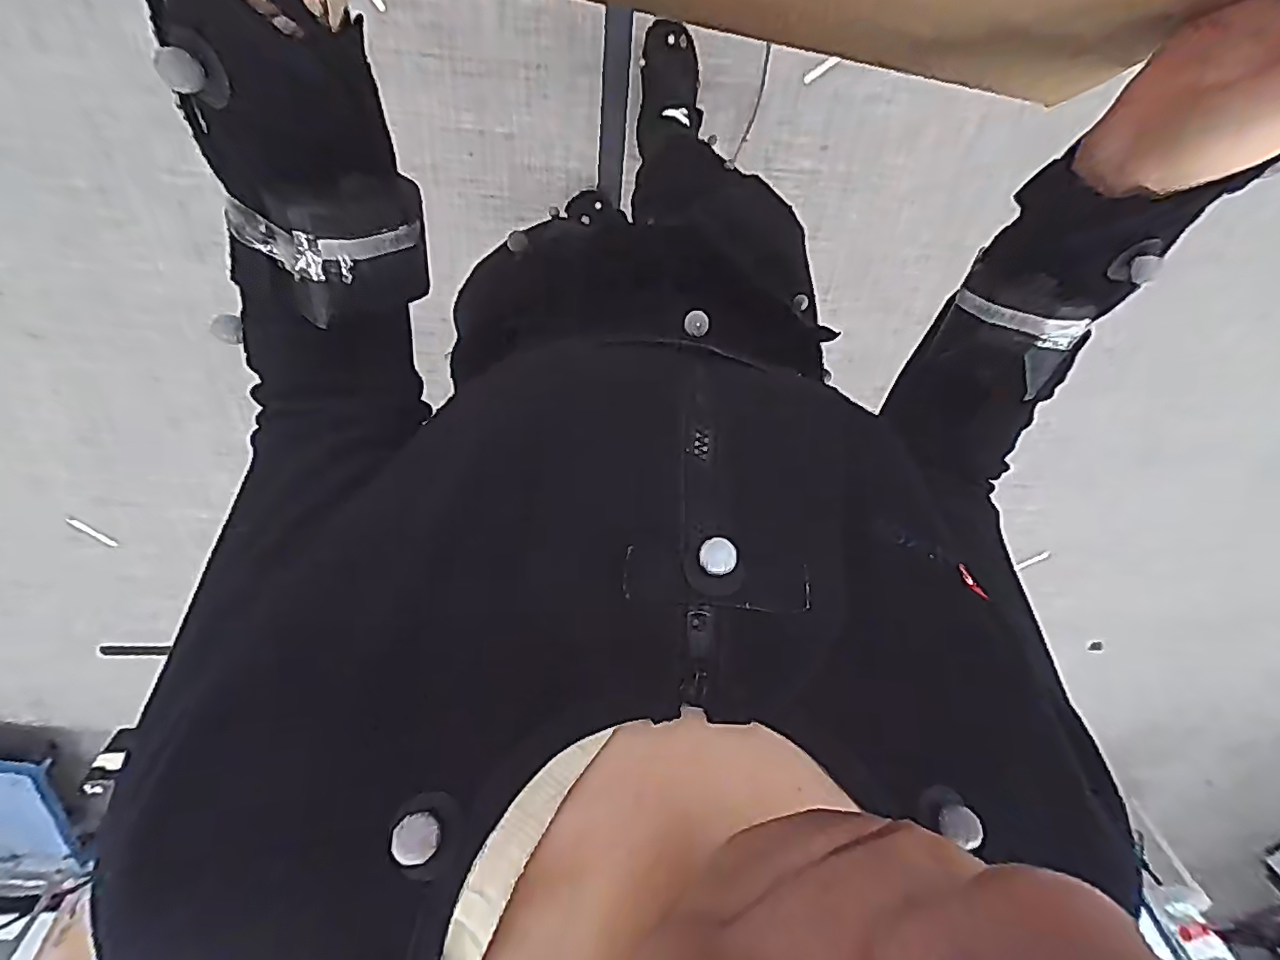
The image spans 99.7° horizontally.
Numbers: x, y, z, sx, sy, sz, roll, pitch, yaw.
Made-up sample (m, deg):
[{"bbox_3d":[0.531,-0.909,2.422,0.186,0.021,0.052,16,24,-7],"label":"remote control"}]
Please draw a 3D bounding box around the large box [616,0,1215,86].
[{"bbox_3d":[0.084,-0.365,0.121,0.408,0.320,0.320,4,103,-9],"label":"large box"}]
